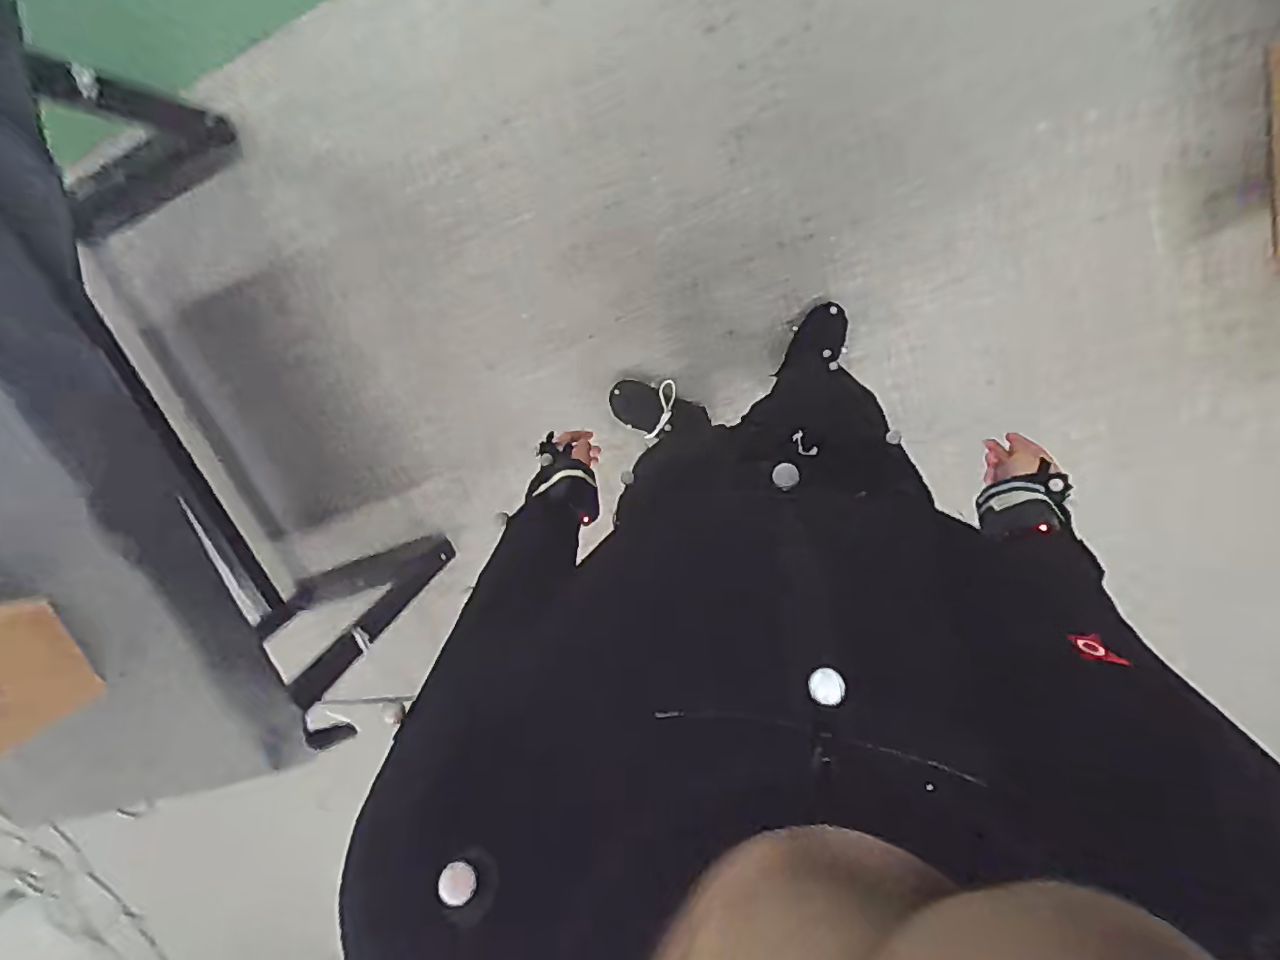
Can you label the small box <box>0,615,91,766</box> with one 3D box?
[{"bbox_3d":[-0.949,0.305,0.750,0.168,0.176,0.179,-12,108,10],"label":"small box"}]
